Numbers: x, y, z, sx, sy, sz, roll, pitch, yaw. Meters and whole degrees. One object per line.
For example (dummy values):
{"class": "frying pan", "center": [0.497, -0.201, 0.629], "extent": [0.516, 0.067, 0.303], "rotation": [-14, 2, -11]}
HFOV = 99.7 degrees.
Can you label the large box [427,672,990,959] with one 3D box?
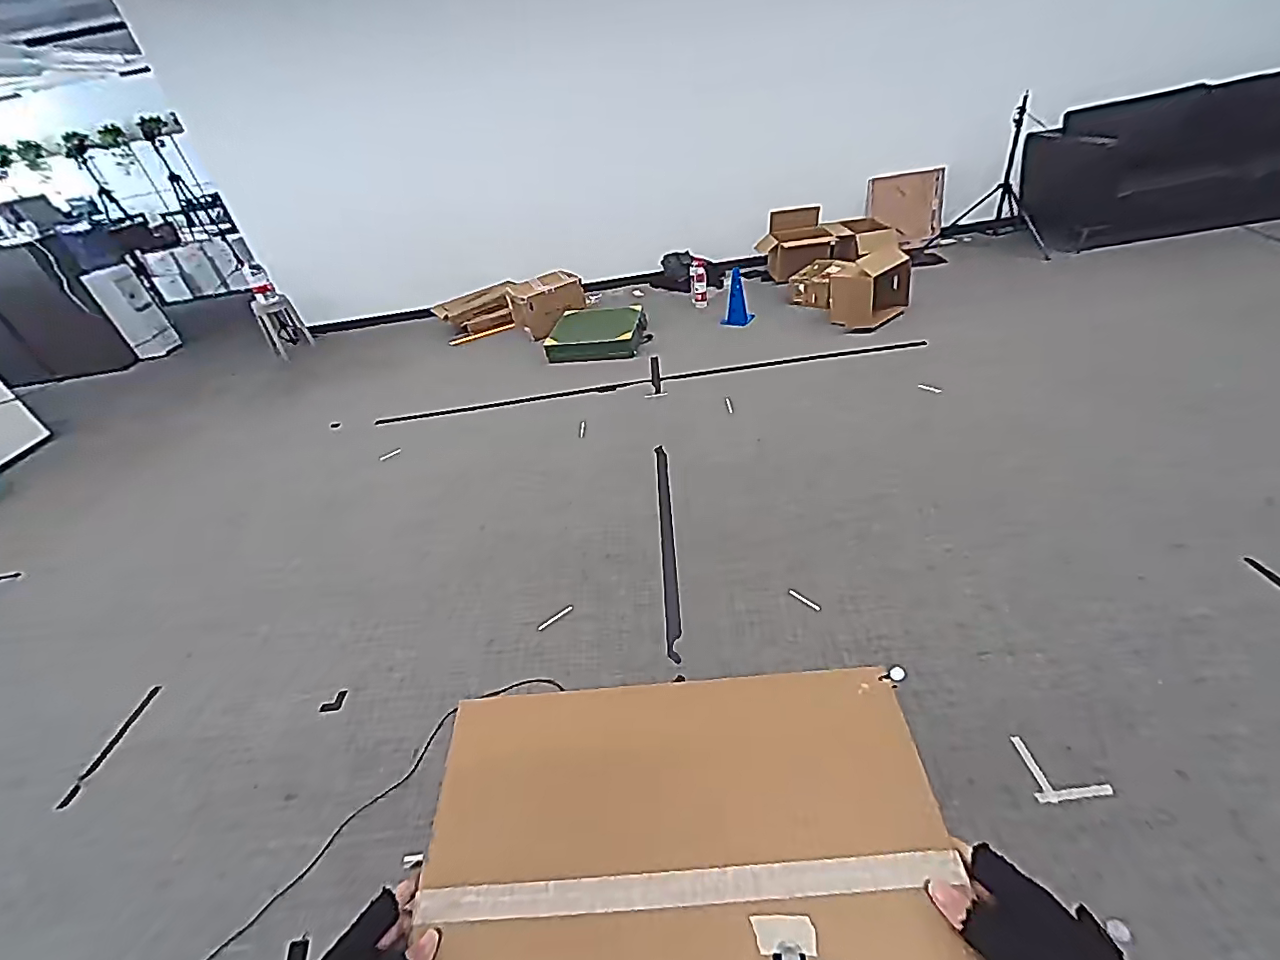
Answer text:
{"class": "large box", "center": [0.051, 0.416, 0.515], "extent": [0.408, 0.320, 0.320], "rotation": [-5, 45, 1]}
